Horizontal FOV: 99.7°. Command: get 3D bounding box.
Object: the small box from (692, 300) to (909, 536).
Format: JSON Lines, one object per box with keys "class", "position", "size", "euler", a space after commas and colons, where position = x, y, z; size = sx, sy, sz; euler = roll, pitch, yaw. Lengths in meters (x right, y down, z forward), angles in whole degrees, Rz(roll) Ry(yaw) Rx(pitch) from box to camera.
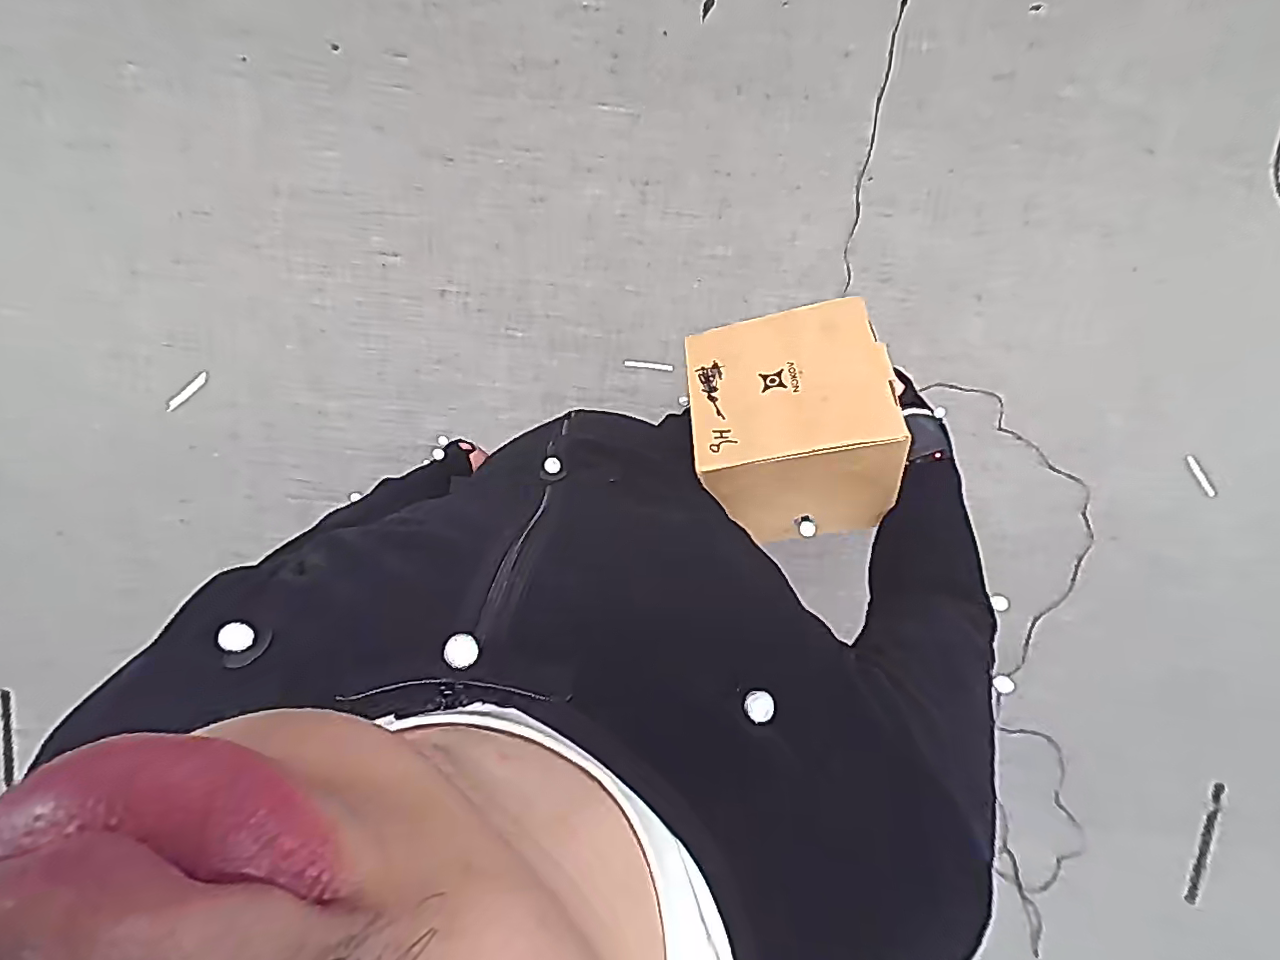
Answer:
{"class": "small box", "position": [0.160, -0.054, 0.571], "size": [0.179, 0.176, 0.168], "euler": [-10, 57, 14]}
